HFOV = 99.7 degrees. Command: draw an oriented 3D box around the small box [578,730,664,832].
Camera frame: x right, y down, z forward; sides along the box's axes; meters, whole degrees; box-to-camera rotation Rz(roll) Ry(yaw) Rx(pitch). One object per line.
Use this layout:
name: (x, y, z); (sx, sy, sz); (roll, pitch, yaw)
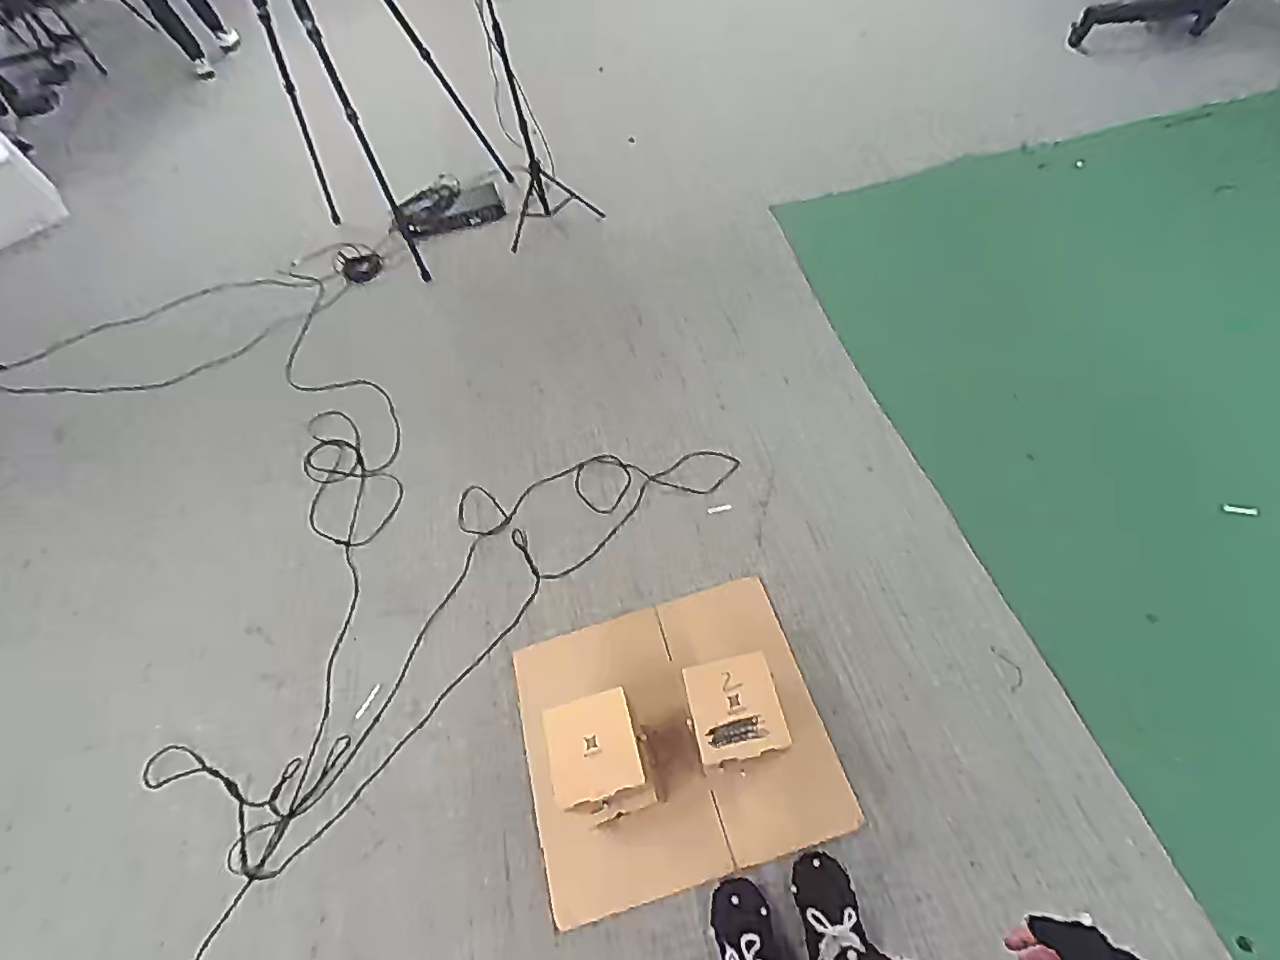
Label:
small box: (-0.053, 0.649, 1.191); (0.168, 0.176, 0.179); (-19, 57, -4)

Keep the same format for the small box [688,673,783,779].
small box: (0.209, 0.556, 1.215); (0.168, 0.176, 0.179); (-14, 58, 1)

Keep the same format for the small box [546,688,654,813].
small box: (-0.076, 0.538, 1.070); (0.168, 0.176, 0.179); (-16, 57, -3)
